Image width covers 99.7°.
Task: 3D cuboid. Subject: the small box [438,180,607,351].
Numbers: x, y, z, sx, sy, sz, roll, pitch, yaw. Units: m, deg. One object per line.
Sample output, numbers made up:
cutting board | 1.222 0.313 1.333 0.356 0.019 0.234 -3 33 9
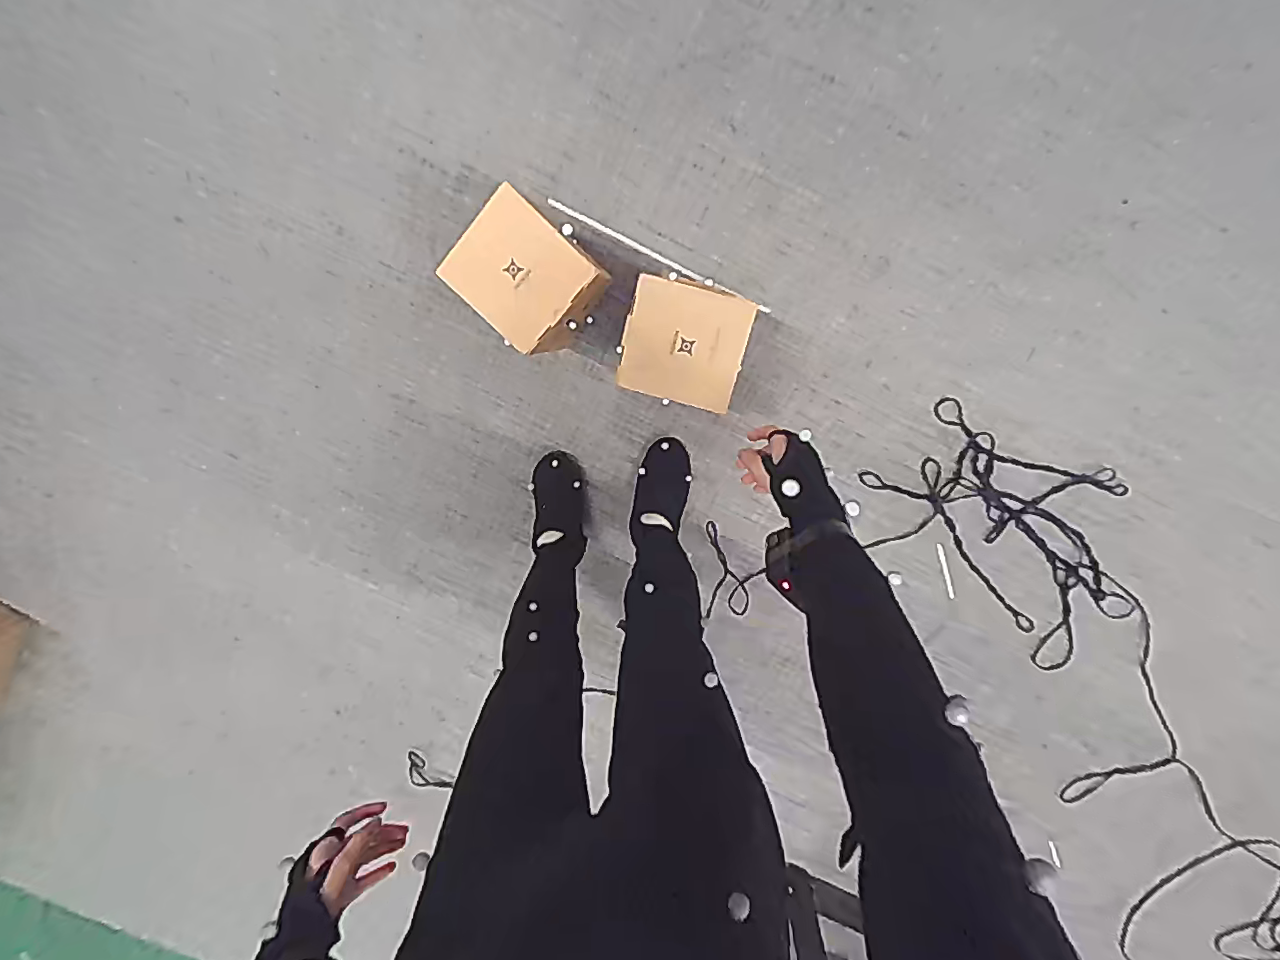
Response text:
small box | -0.172 -0.324 0.850 0.179 0.176 0.168 42 104 -9

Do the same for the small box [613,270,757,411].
small box | 0.070 -0.221 0.858 0.179 0.176 0.168 15 108 1
